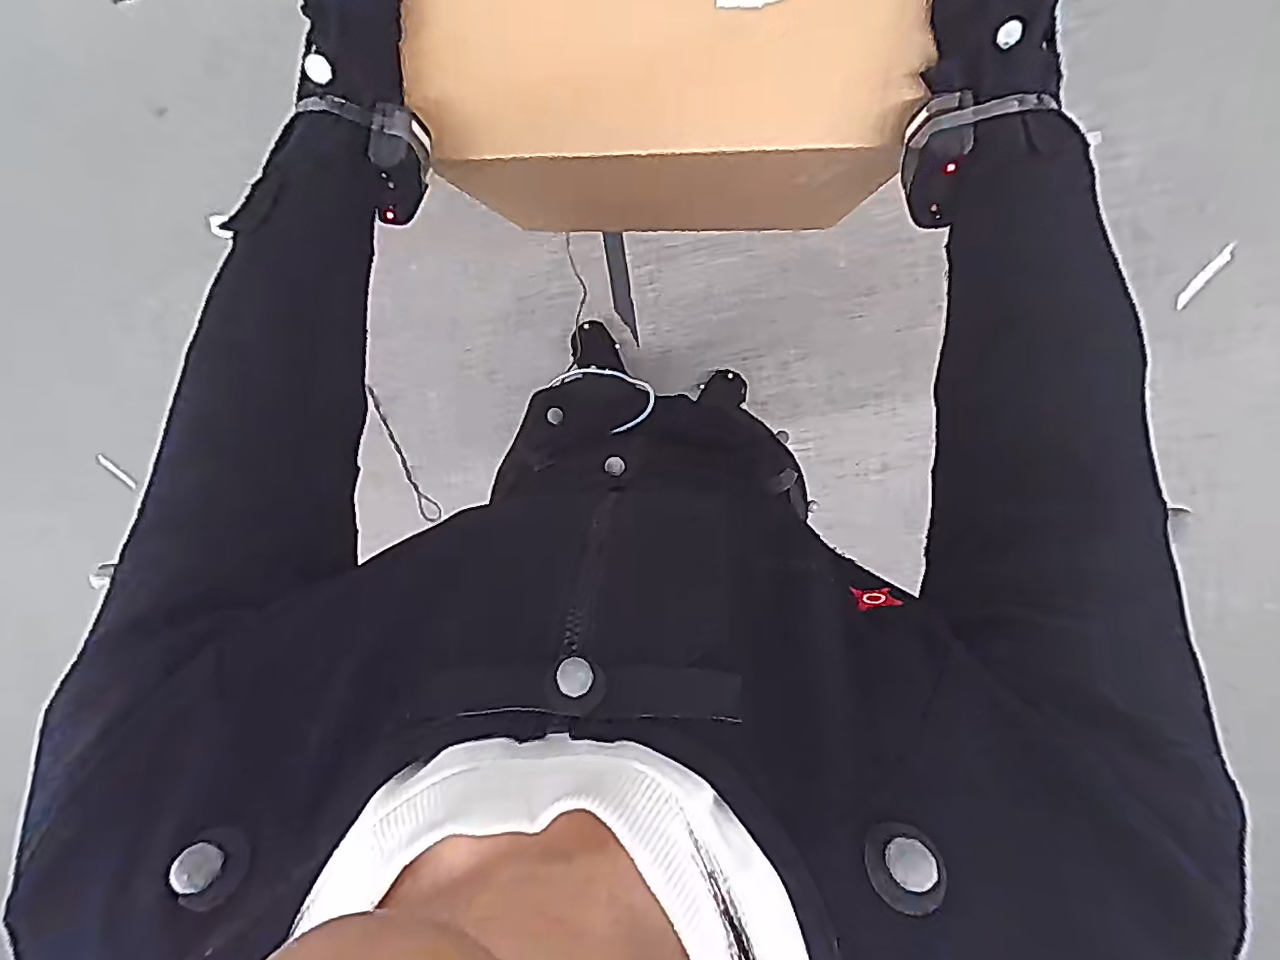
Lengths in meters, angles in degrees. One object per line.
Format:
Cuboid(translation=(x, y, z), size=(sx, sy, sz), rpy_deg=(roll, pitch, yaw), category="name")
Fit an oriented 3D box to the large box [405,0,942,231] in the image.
Cuboid(translation=(0.027, -0.446, 0.529), size=(0.408, 0.320, 0.320), rpy_deg=(0, 105, 4), category="large box")
